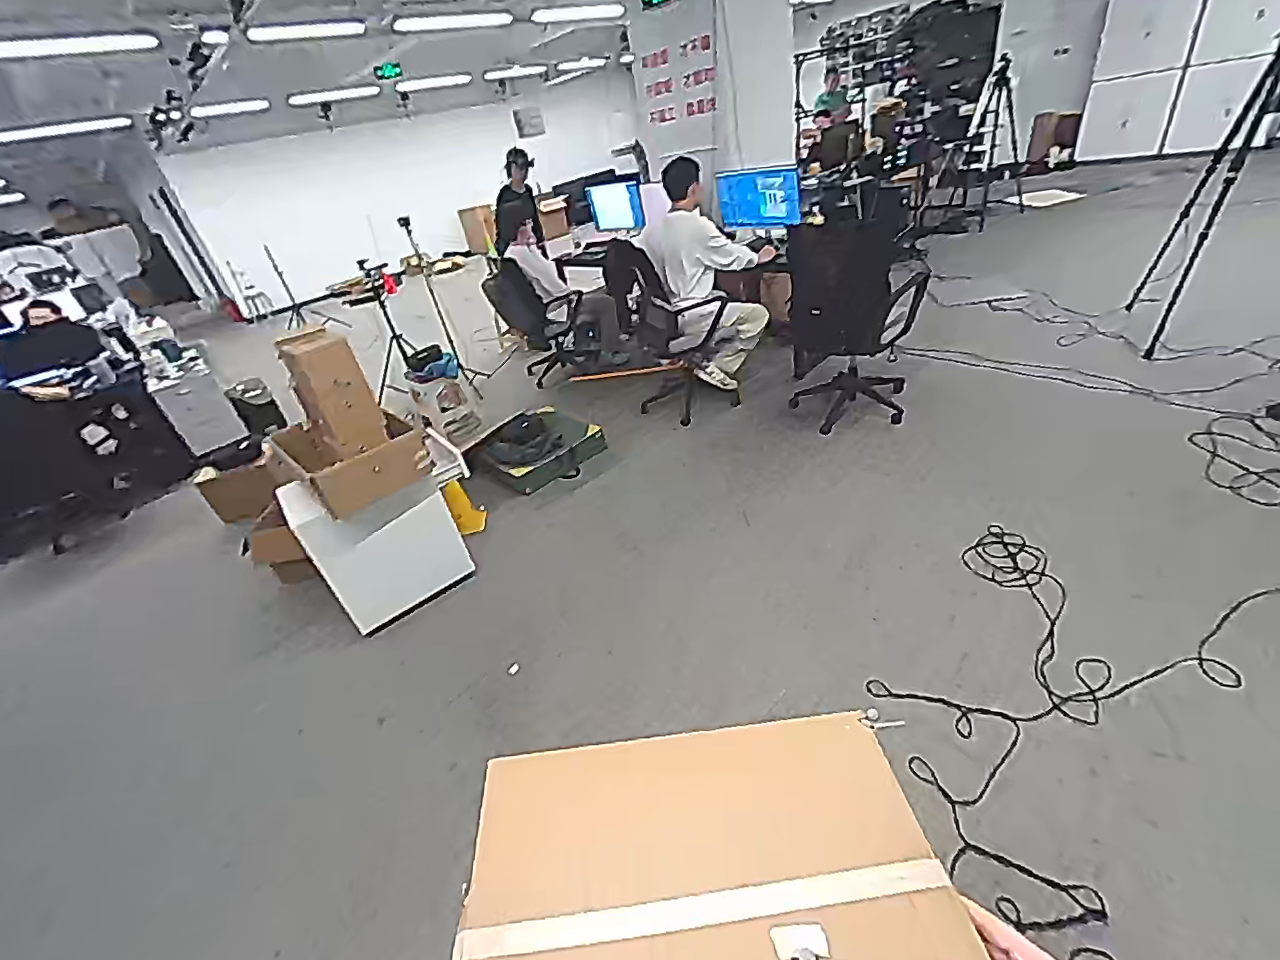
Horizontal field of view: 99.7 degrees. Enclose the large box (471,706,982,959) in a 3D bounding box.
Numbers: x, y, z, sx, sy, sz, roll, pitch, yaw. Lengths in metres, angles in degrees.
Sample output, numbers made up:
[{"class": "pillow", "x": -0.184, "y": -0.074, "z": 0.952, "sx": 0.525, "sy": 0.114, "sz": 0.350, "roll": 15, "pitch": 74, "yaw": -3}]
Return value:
[{"class": "large box", "x": 0.065, "y": 0.477, "z": 0.539, "sx": 0.408, "sy": 0.320, "sz": 0.320, "roll": -5, "pitch": 33, "yaw": -4}]
